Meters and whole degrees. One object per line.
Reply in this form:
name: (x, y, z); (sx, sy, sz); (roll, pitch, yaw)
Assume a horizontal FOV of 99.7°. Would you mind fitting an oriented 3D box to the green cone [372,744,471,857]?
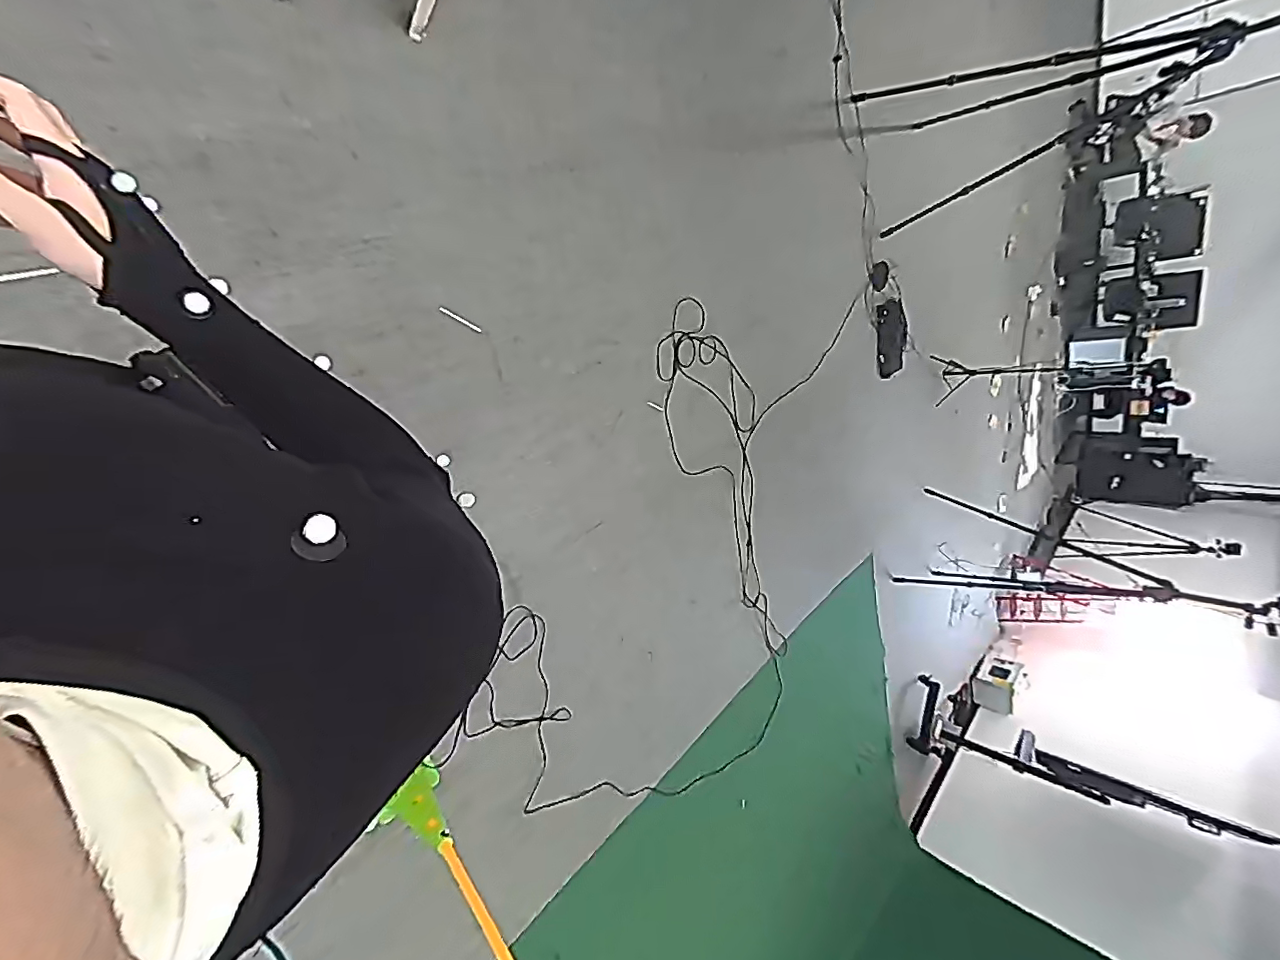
green cone: (-0.595, 0.977, 1.572); (0.202, 0.368, 0.200); (-31, 116, -37)
